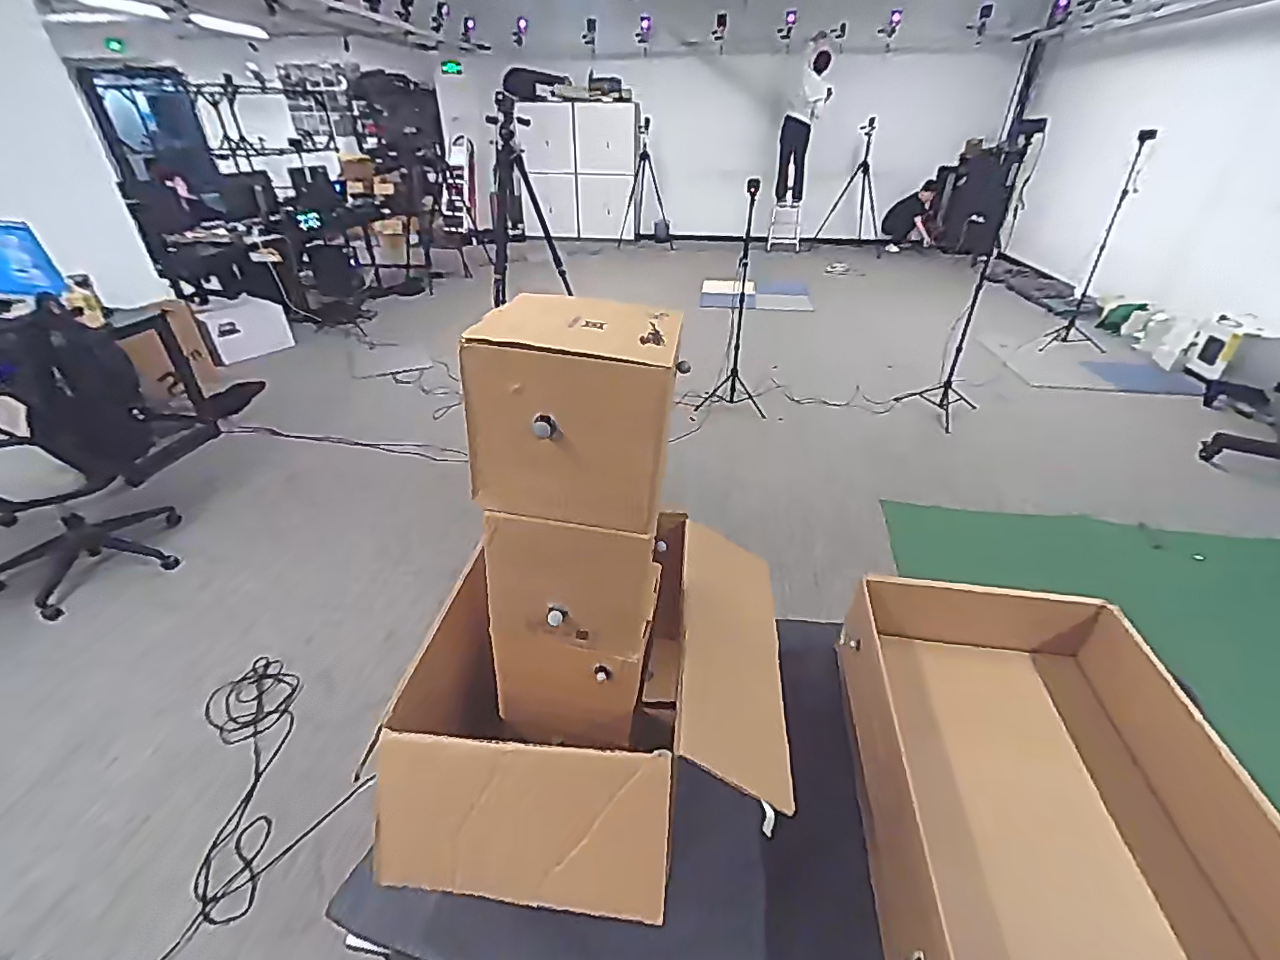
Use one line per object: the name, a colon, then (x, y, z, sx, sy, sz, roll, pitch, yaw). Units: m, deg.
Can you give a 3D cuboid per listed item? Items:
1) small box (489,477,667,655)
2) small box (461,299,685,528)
small box: (-0.064, 0.069, 0.625, 0.168, 0.176, 0.179, 8, 33, 3)
small box: (-0.055, -0.070, 0.538, 0.179, 0.176, 0.168, 8, 33, 4)
